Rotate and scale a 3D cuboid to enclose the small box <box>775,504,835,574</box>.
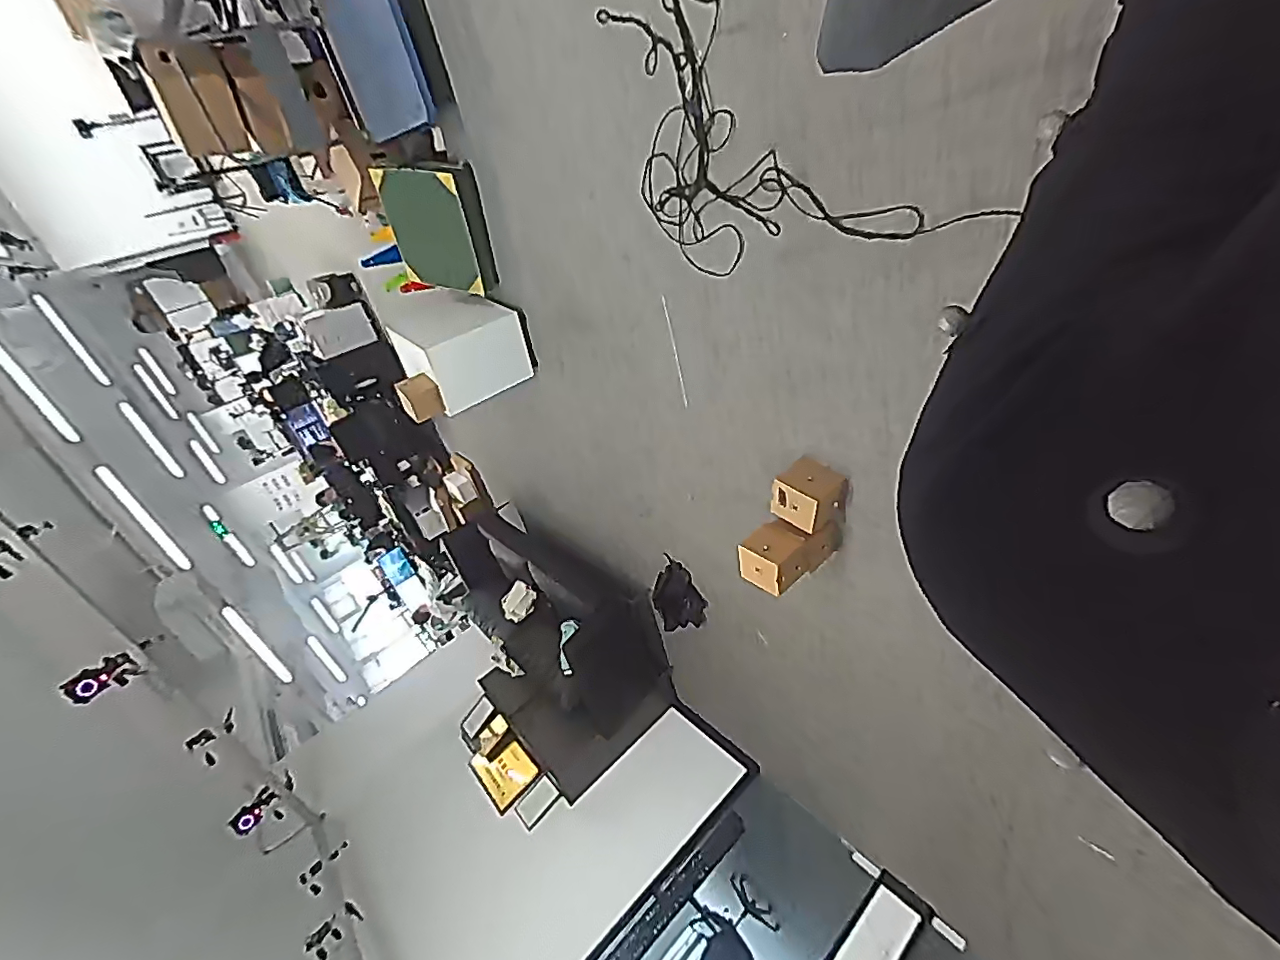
[{"bbox_3d":[0.621,0.216,2.046,0.179,0.176,0.168,26,140,43],"label":"small box"}]

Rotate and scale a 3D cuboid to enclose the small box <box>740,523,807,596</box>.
[{"bbox_3d":[0.489,0.282,1.974,0.179,0.176,0.168,26,140,43],"label":"small box"}]
